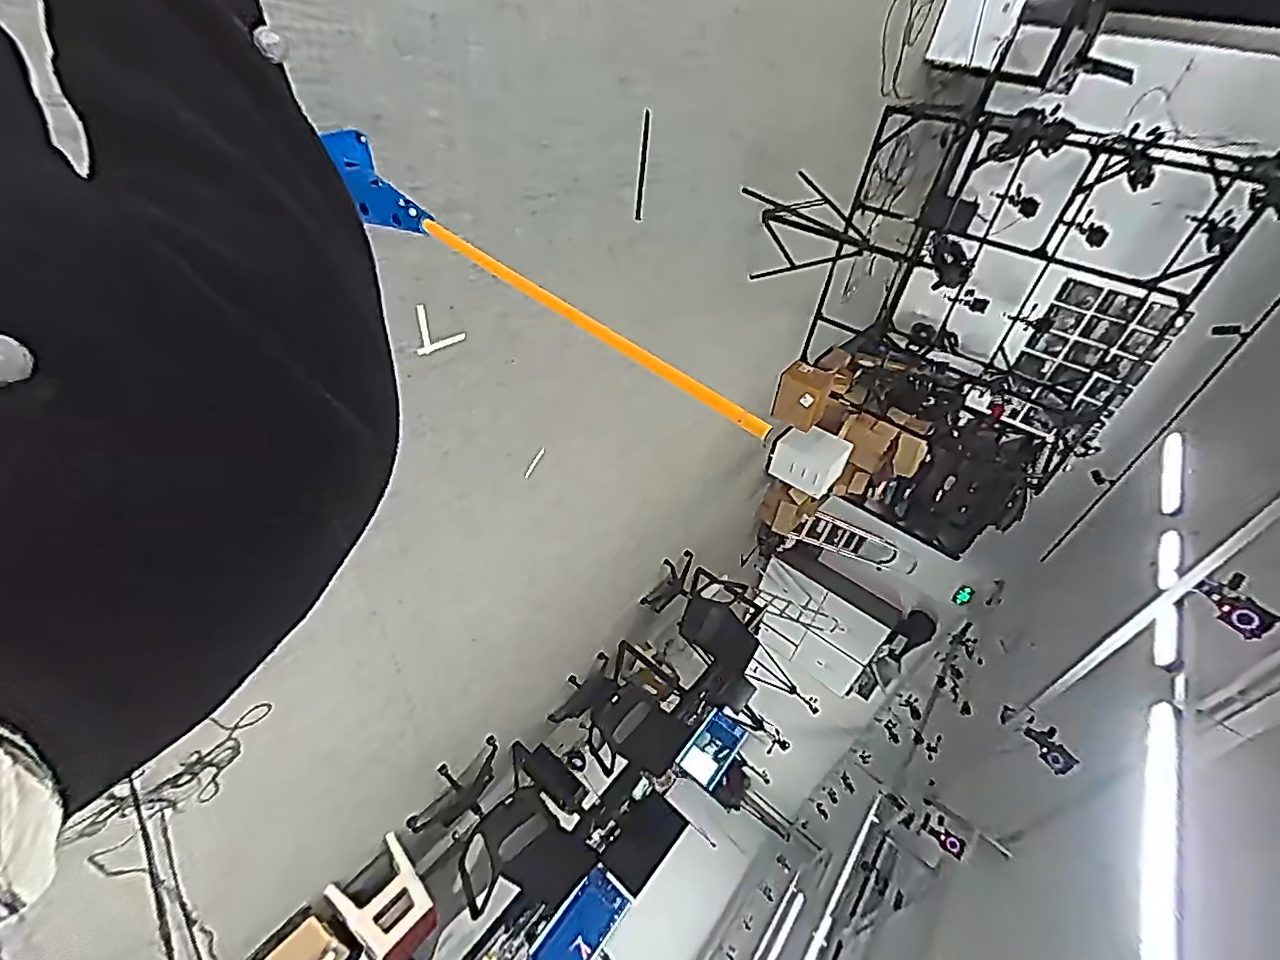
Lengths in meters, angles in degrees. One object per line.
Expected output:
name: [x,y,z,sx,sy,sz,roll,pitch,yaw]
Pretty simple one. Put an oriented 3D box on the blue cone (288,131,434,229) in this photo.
blue cone: [-0.581,-0.626,1.201,0.193,0.380,0.192,-38,147,-37]
